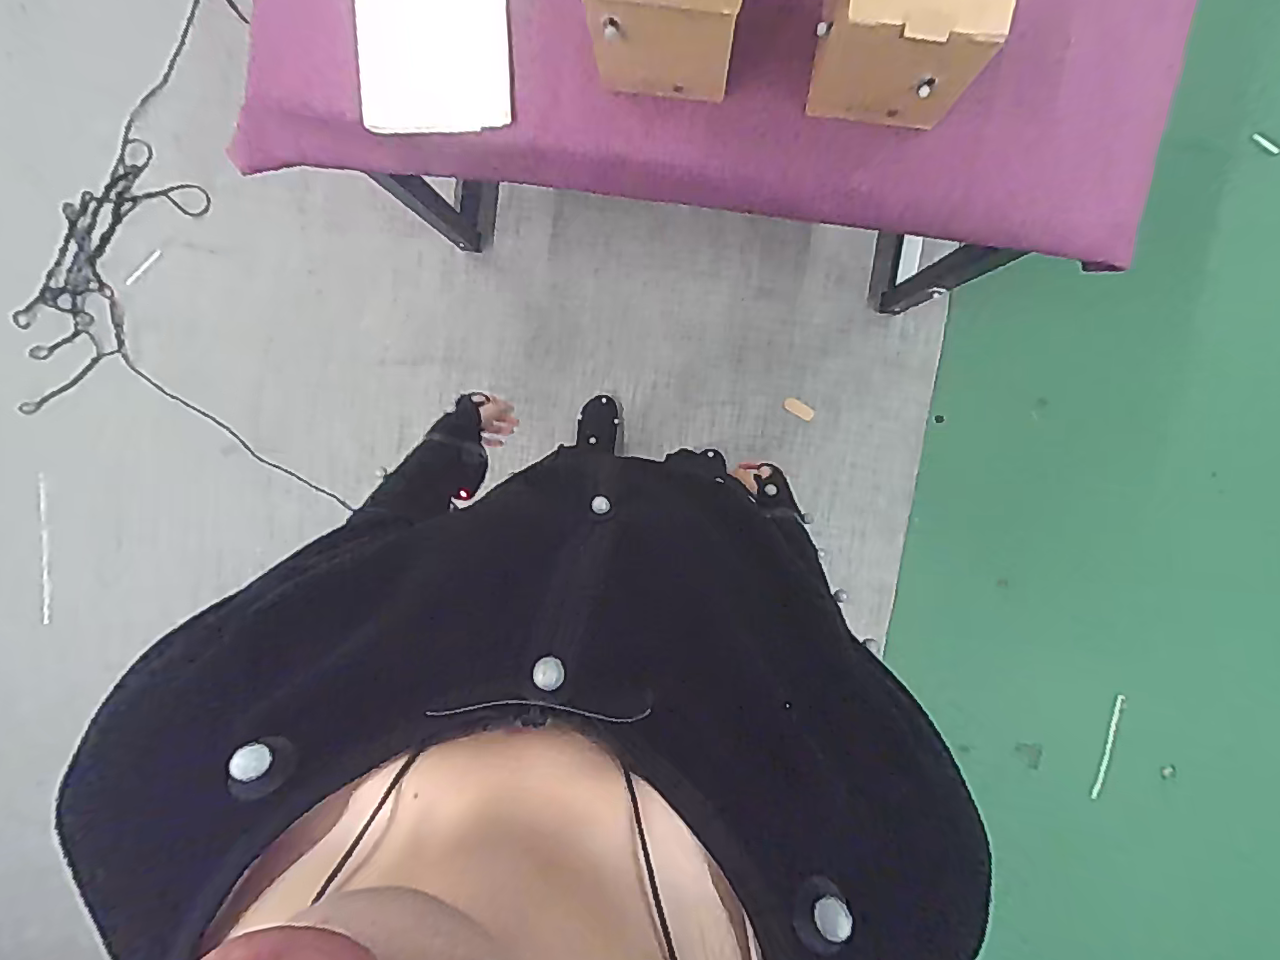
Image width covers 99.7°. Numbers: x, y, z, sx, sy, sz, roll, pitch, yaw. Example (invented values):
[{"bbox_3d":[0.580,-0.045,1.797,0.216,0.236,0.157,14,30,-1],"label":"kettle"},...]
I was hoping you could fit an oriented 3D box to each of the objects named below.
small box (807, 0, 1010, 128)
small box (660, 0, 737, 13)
[{"bbox_3d":[0.303,-0.545,0.623,0.168,0.176,0.179,9,95,1],"label":"small box"},{"bbox_3d":[0.027,-0.563,0.470,0.168,0.176,0.179,9,95,2],"label":"small box"}]
